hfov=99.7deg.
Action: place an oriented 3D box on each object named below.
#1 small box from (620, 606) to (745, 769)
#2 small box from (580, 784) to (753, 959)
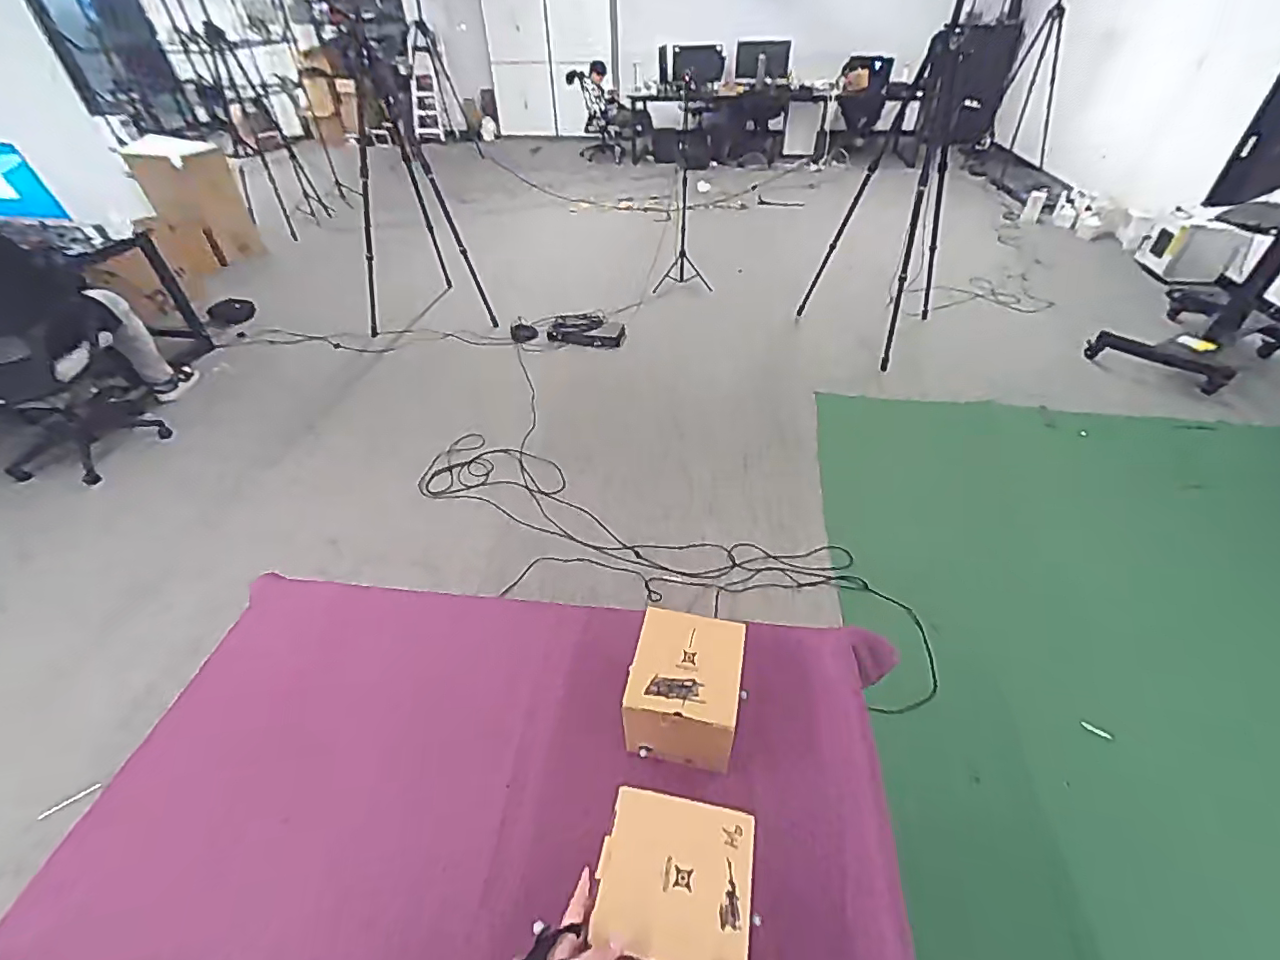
[{"bbox_3d":[0.073,0.336,0.876,0.168,0.176,0.179,9,42,11],"label":"small box"},{"bbox_3d":[0.040,0.515,0.674,0.179,0.176,0.168,7,41,11],"label":"small box"}]
